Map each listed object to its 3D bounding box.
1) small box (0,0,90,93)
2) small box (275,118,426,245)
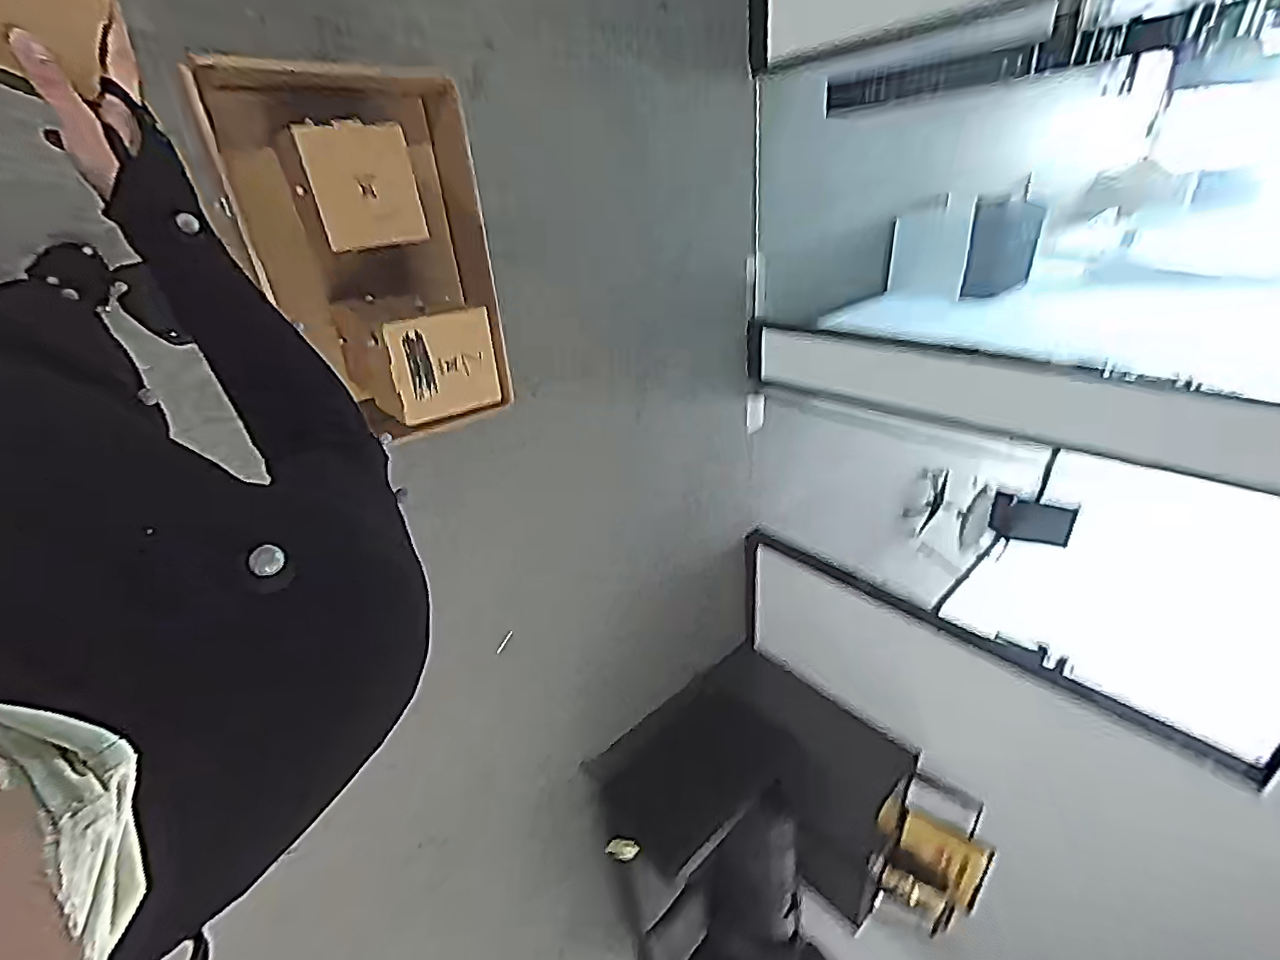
[{"bbox_3d":[-0.524,-0.408,0.377,0.179,0.176,0.168,-3,115,-54],"label":"small box"},{"bbox_3d":[-0.499,-0.510,0.932,0.168,0.176,0.179,-25,126,-33],"label":"small box"}]
